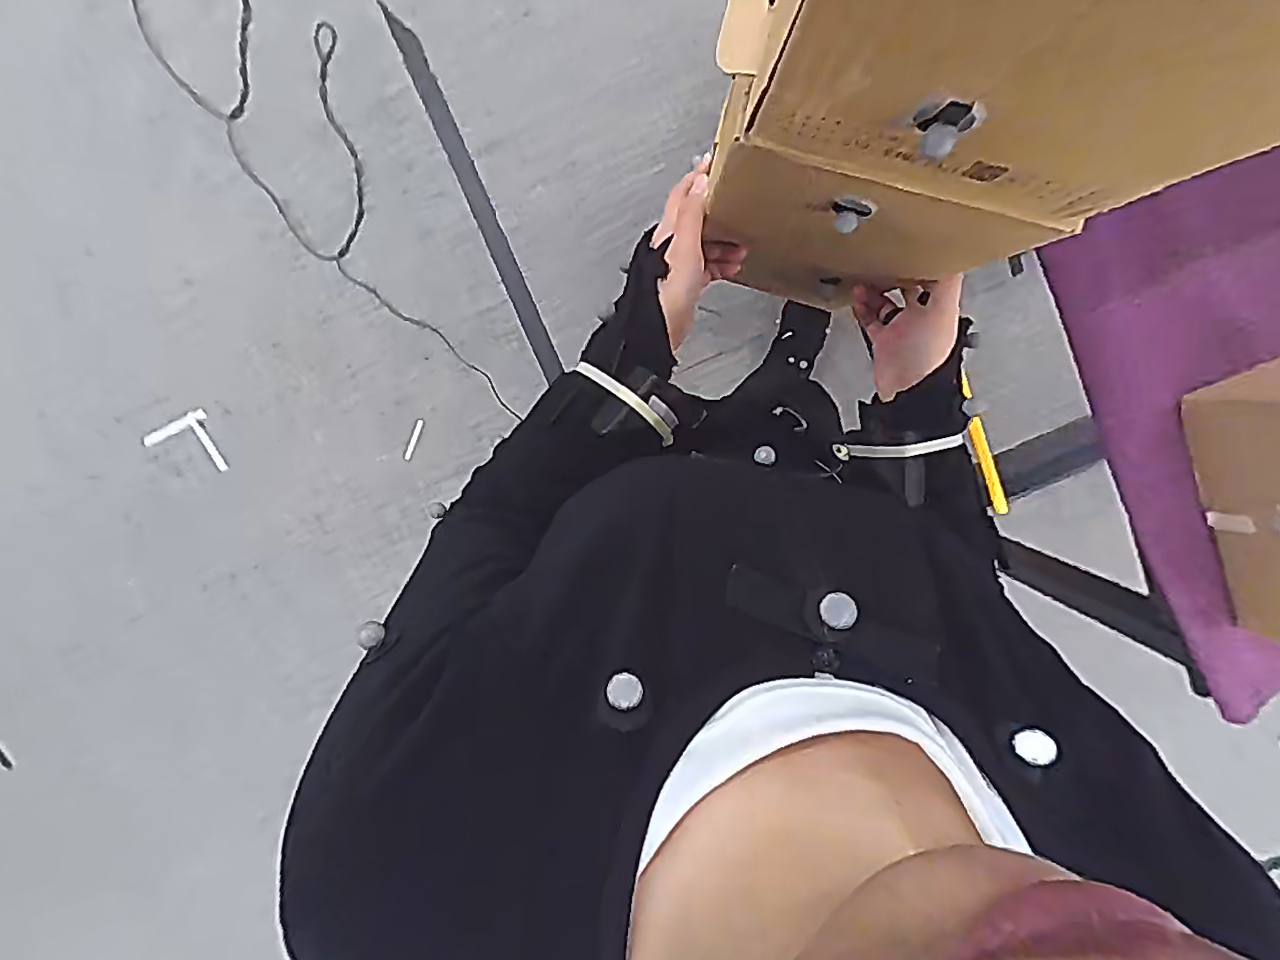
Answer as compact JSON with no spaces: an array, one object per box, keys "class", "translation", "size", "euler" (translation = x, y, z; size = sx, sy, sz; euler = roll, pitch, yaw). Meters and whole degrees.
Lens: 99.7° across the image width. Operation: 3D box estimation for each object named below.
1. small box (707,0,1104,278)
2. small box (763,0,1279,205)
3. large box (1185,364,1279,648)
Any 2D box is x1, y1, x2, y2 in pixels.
[{"class":"small box","translation":[0.146,-0.229,0.314],"size":[0.179,0.176,0.168],"euler":[13,101,-3]},{"class":"small box","translation":[0.146,-0.208,0.153],"size":[0.168,0.176,0.179],"euler":[12,101,-2]},{"class":"large box","translation":[0.846,-0.004,0.472],"size":[0.408,0.320,0.320],"euler":[-24,101,2]}]
